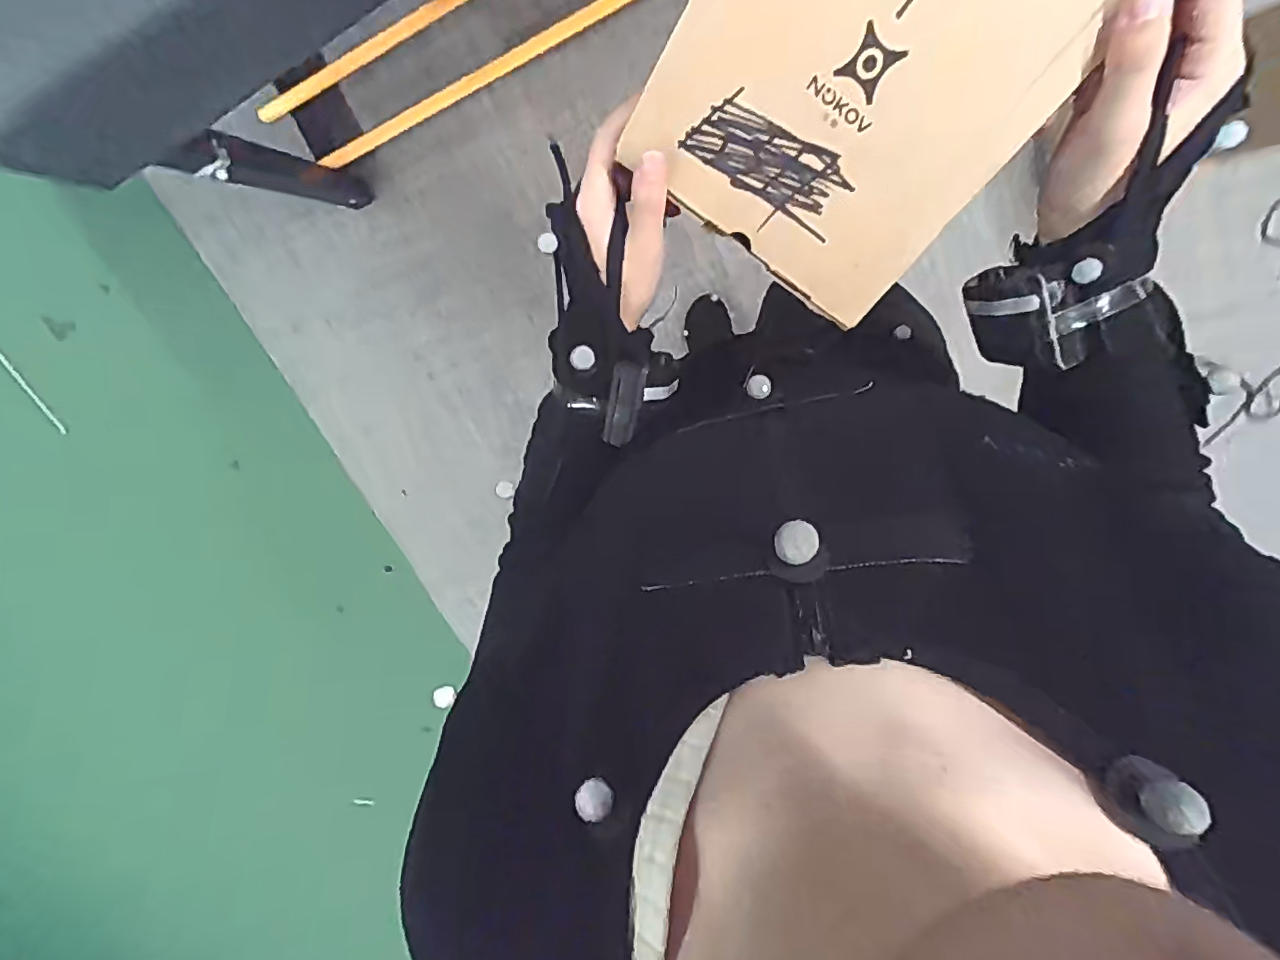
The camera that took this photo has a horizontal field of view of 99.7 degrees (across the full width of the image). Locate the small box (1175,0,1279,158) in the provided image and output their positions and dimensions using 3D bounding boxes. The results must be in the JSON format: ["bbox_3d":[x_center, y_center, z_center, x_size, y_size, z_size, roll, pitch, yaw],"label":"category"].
[{"bbox_3d":[0.861,-0.551,0.698,0.179,0.176,0.168,-21,108,11],"label":"small box"}]

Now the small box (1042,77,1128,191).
[{"bbox_3d":[0.888,-0.659,1.006,0.168,0.176,0.179,-20,109,11],"label":"small box"}]

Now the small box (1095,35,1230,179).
[{"bbox_3d":[0.874,-0.603,0.854,0.168,0.176,0.179,-23,107,11],"label":"small box"}]

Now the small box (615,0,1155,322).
[{"bbox_3d":[0.112,-0.231,0.313,0.168,0.176,0.179,33,124,-13],"label":"small box"}]
